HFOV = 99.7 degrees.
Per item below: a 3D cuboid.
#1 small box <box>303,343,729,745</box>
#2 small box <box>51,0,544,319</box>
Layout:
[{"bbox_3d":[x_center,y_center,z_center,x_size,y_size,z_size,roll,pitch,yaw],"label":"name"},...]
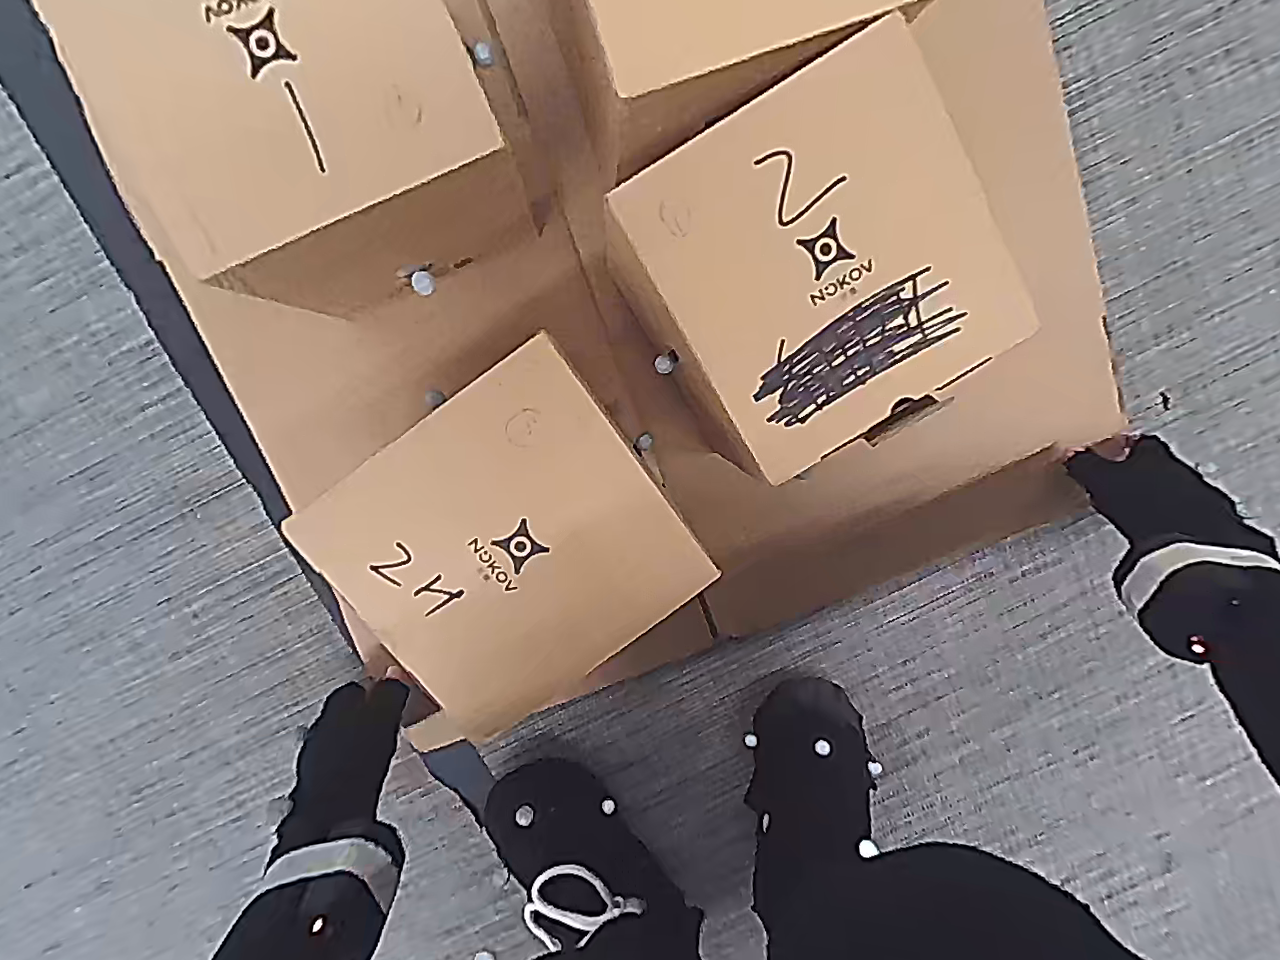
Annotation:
[{"bbox_3d":[-0.069,0.027,0.373,0.179,0.176,0.168,-35,100,3],"label":"small box"},{"bbox_3d":[-0.171,-0.216,0.324,0.168,0.176,0.179,-24,101,1],"label":"small box"}]
